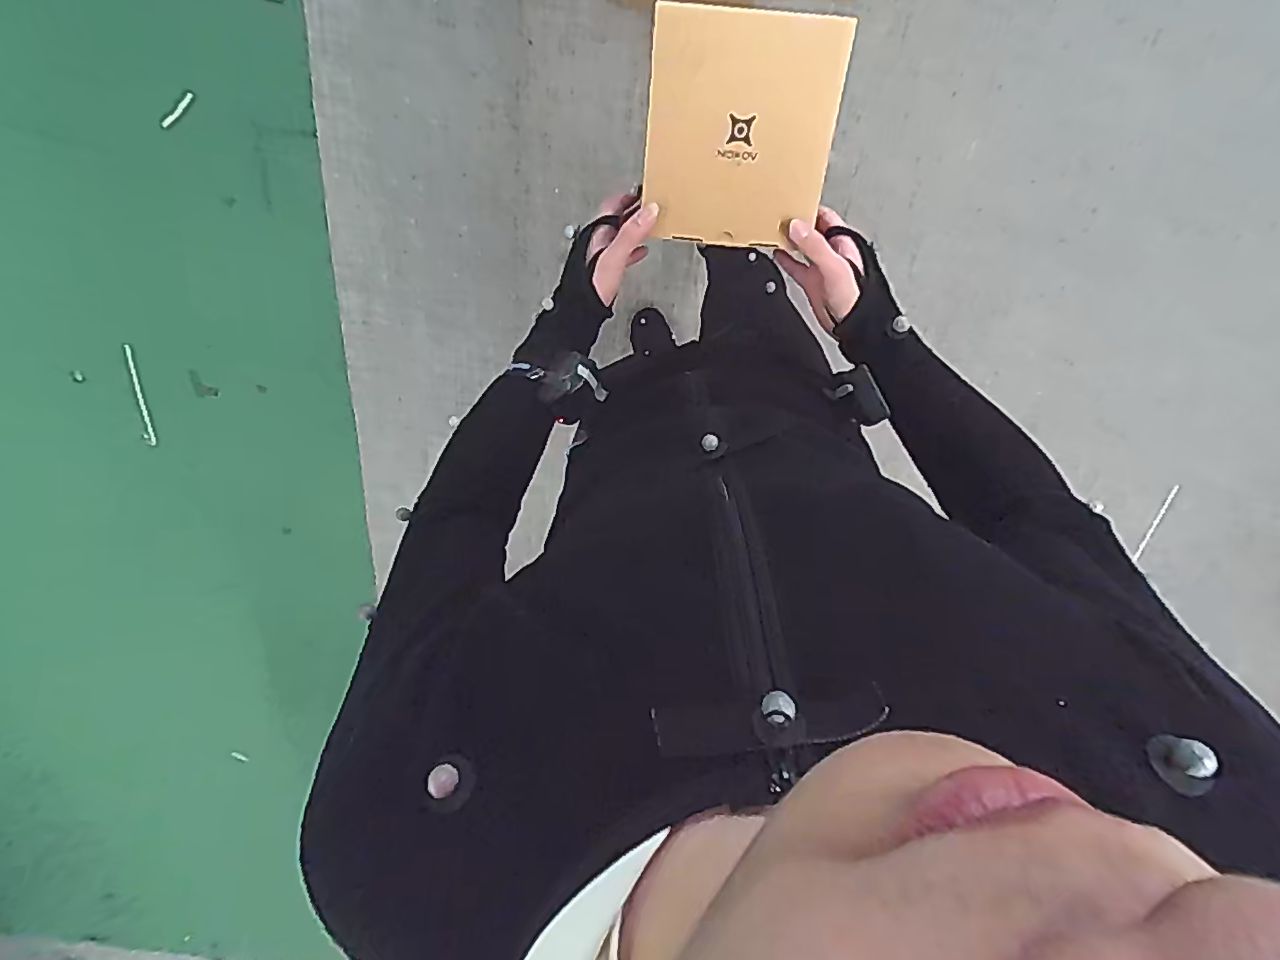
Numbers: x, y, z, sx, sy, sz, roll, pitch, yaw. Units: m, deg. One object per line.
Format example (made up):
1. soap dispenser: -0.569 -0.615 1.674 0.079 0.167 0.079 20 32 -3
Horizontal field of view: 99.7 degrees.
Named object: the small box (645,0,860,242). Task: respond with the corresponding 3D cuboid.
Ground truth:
1. small box: 0.092 -0.345 0.541 0.168 0.176 0.179 3 119 -1
